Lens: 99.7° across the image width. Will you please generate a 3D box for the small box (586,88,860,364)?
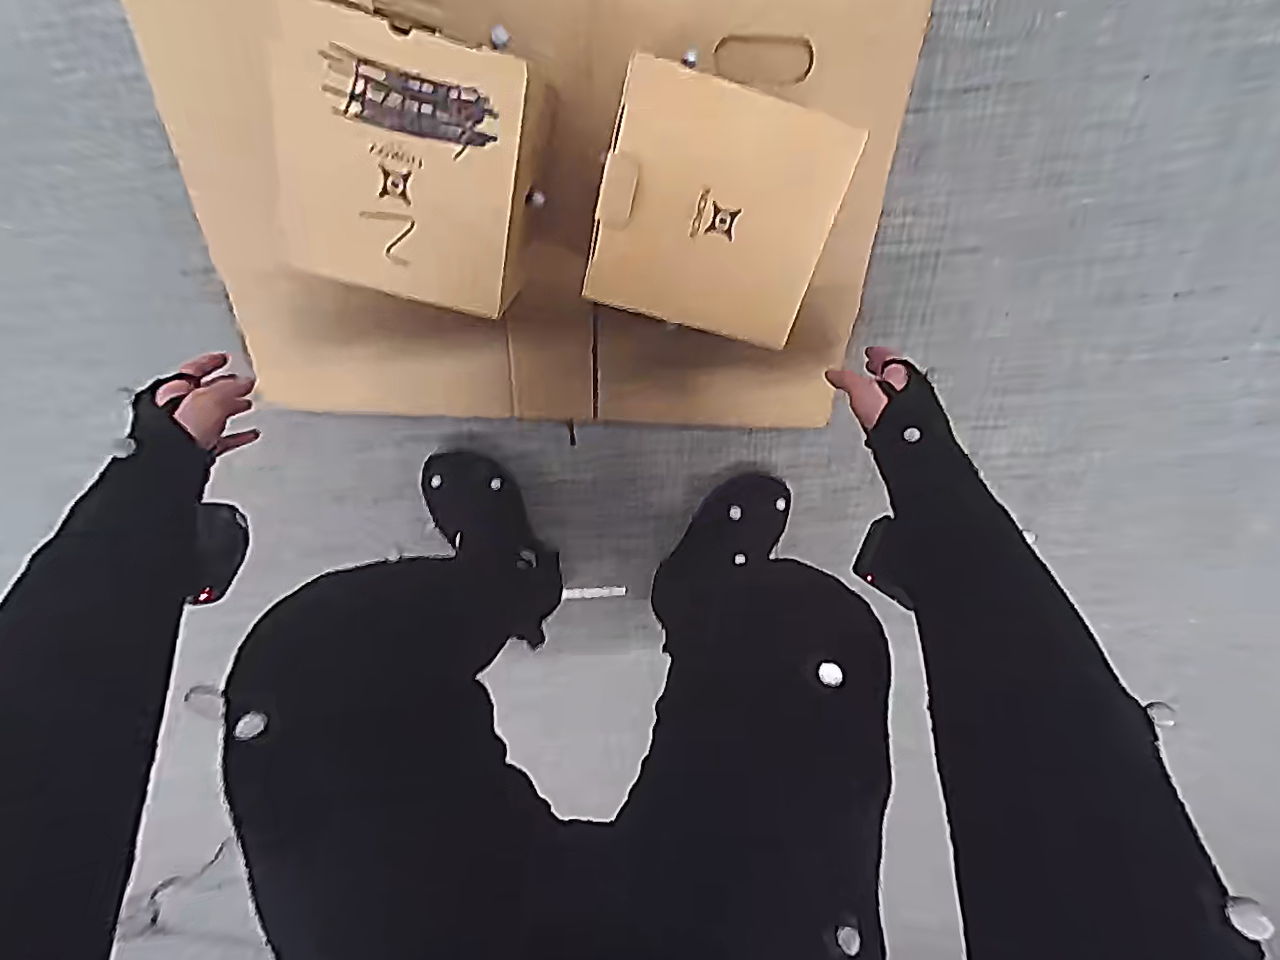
[{"bbox_3d":[0.058,-0.227,0.489,0.179,0.176,0.168,12,120,-7],"label":"small box"}]
